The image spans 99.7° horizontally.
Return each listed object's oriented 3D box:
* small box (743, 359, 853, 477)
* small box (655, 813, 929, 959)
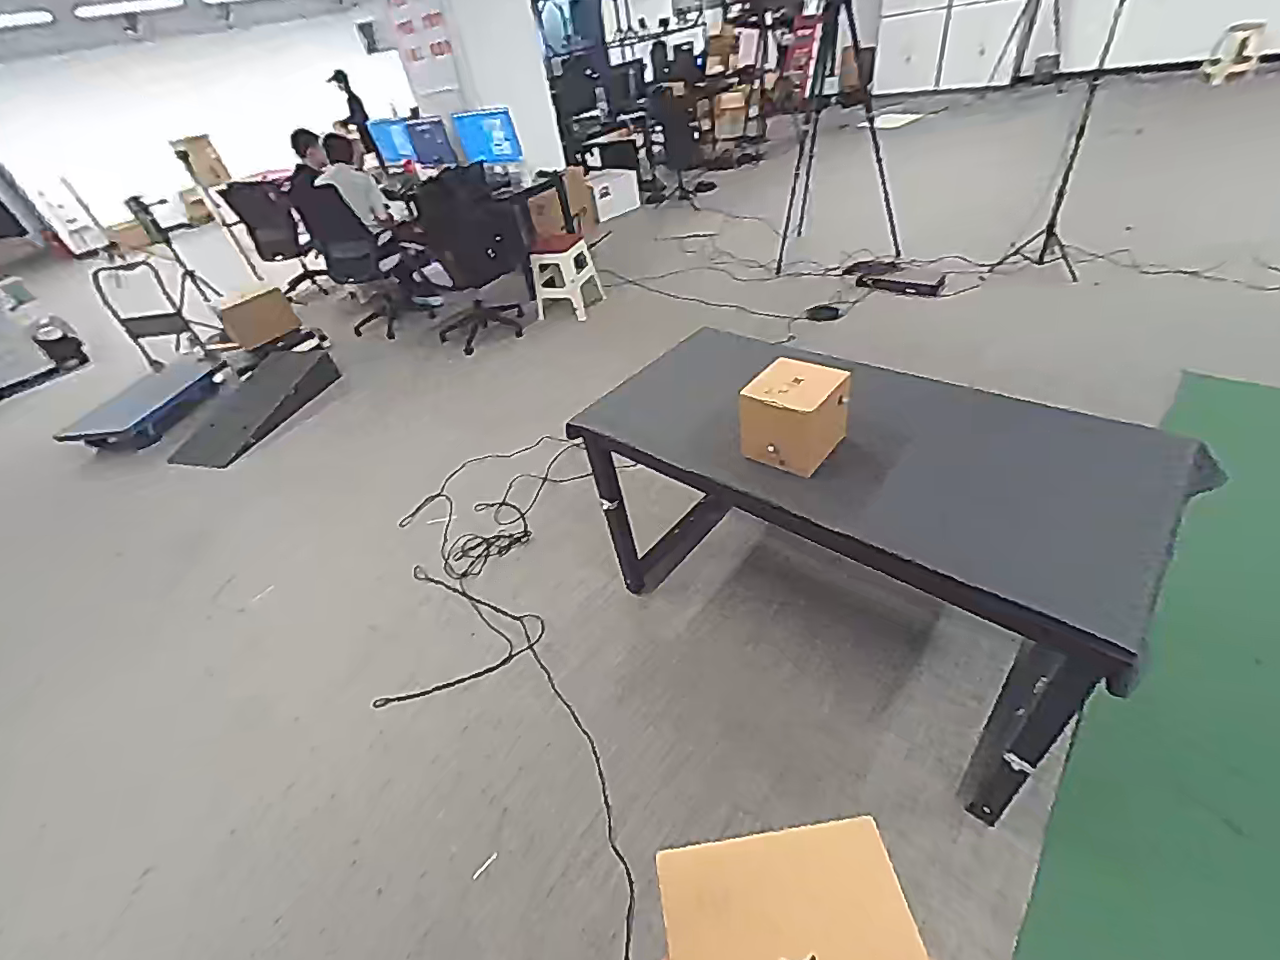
[{"bbox_3d":[0.339,-0.138,1.176,0.168,0.176,0.179,23,51,36],"label":"small box"},{"bbox_3d":[0.104,0.370,0.380,0.168,0.176,0.179,-8,41,-3],"label":"small box"}]
